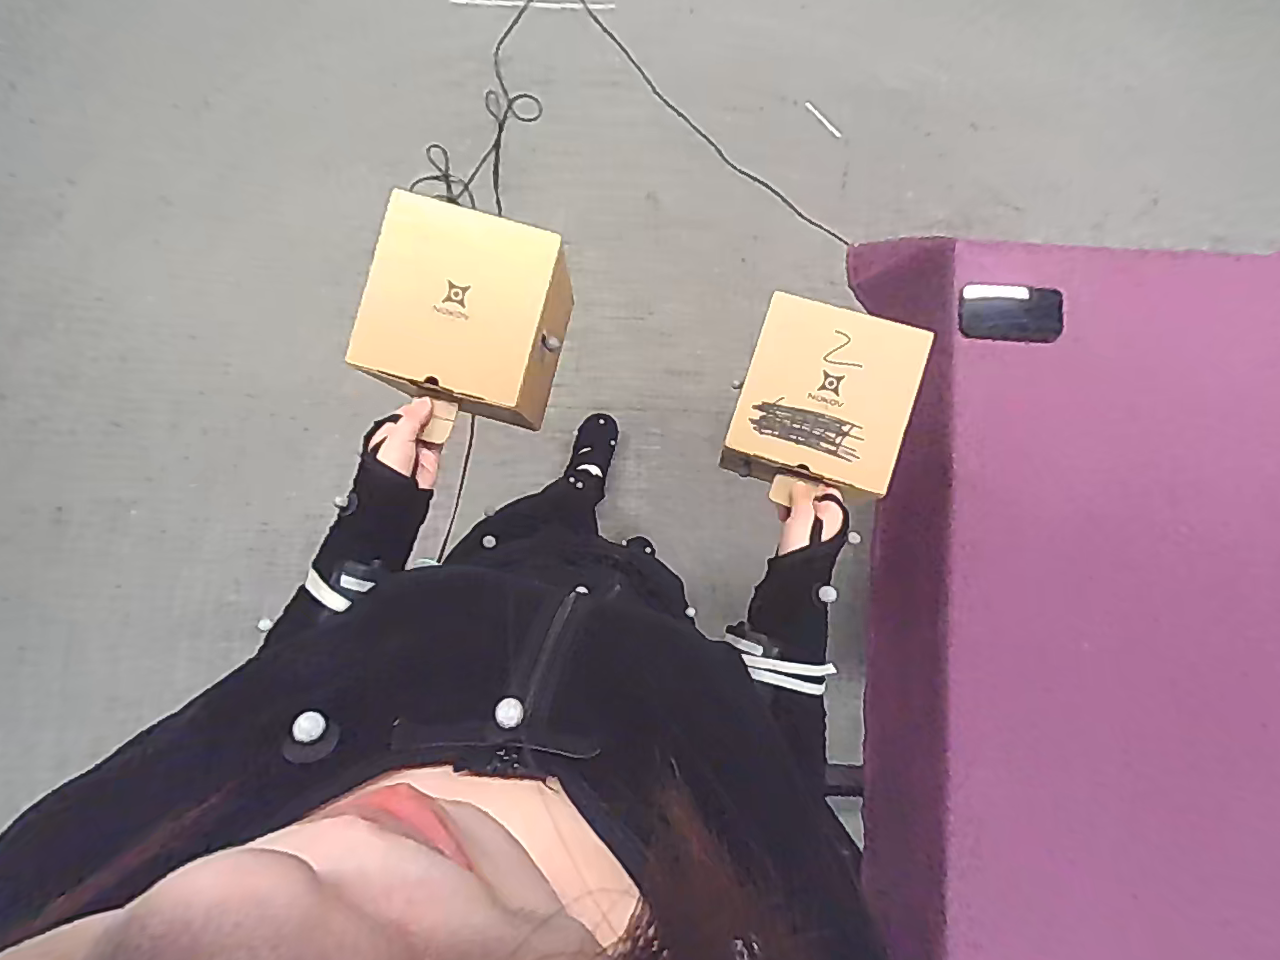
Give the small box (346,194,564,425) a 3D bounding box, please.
[{"bbox_3d":[-0.184,-0.170,0.598,0.168,0.176,0.179,14,89,-3],"label":"small box"}]
